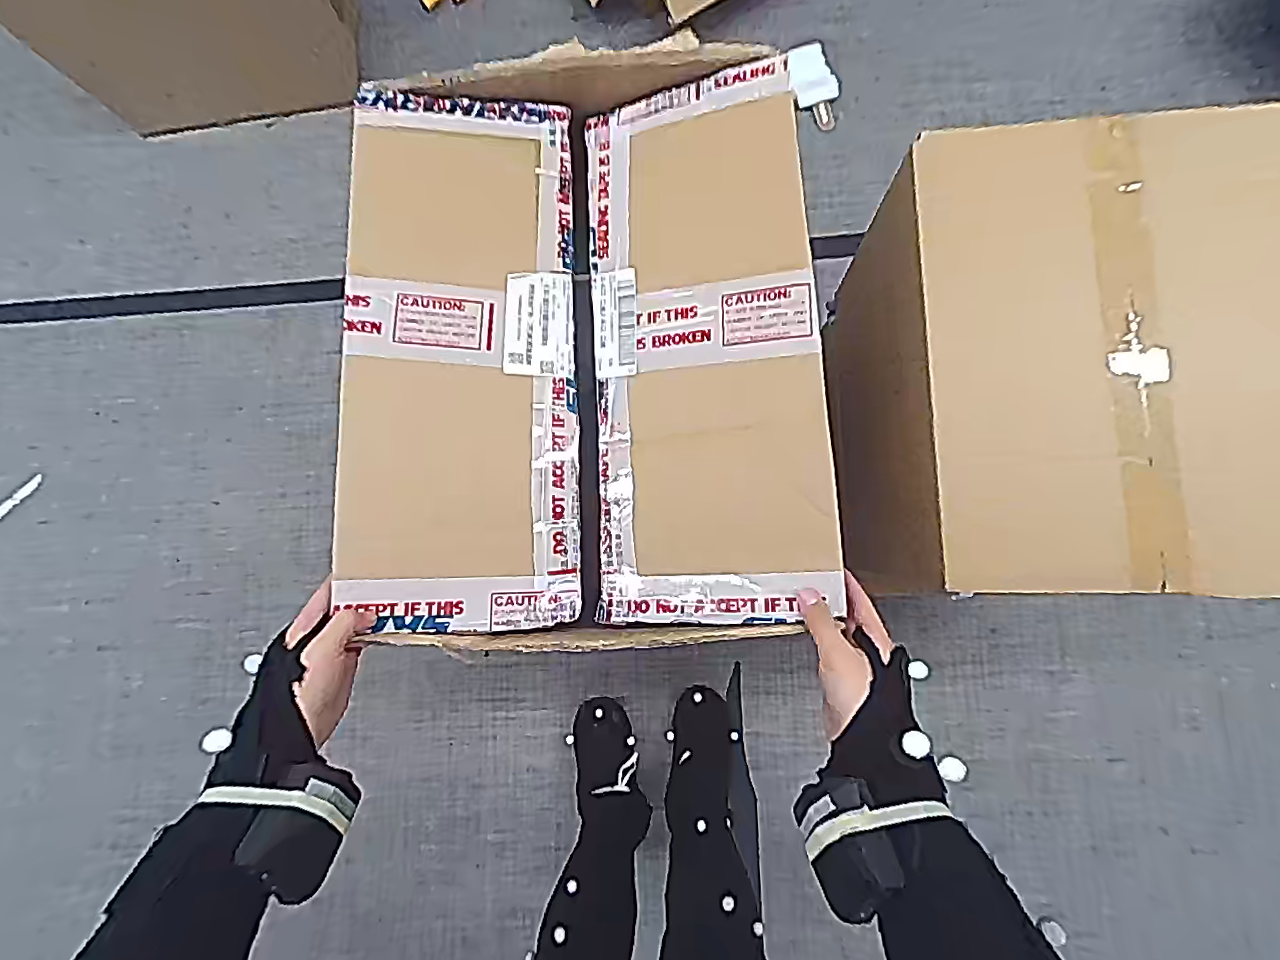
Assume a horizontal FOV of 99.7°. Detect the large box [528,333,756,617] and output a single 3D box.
[{"bbox_3d":[0.004,0.004,0.932,0.320,0.320,0.408,-4,83,3],"label":"large box"}]
